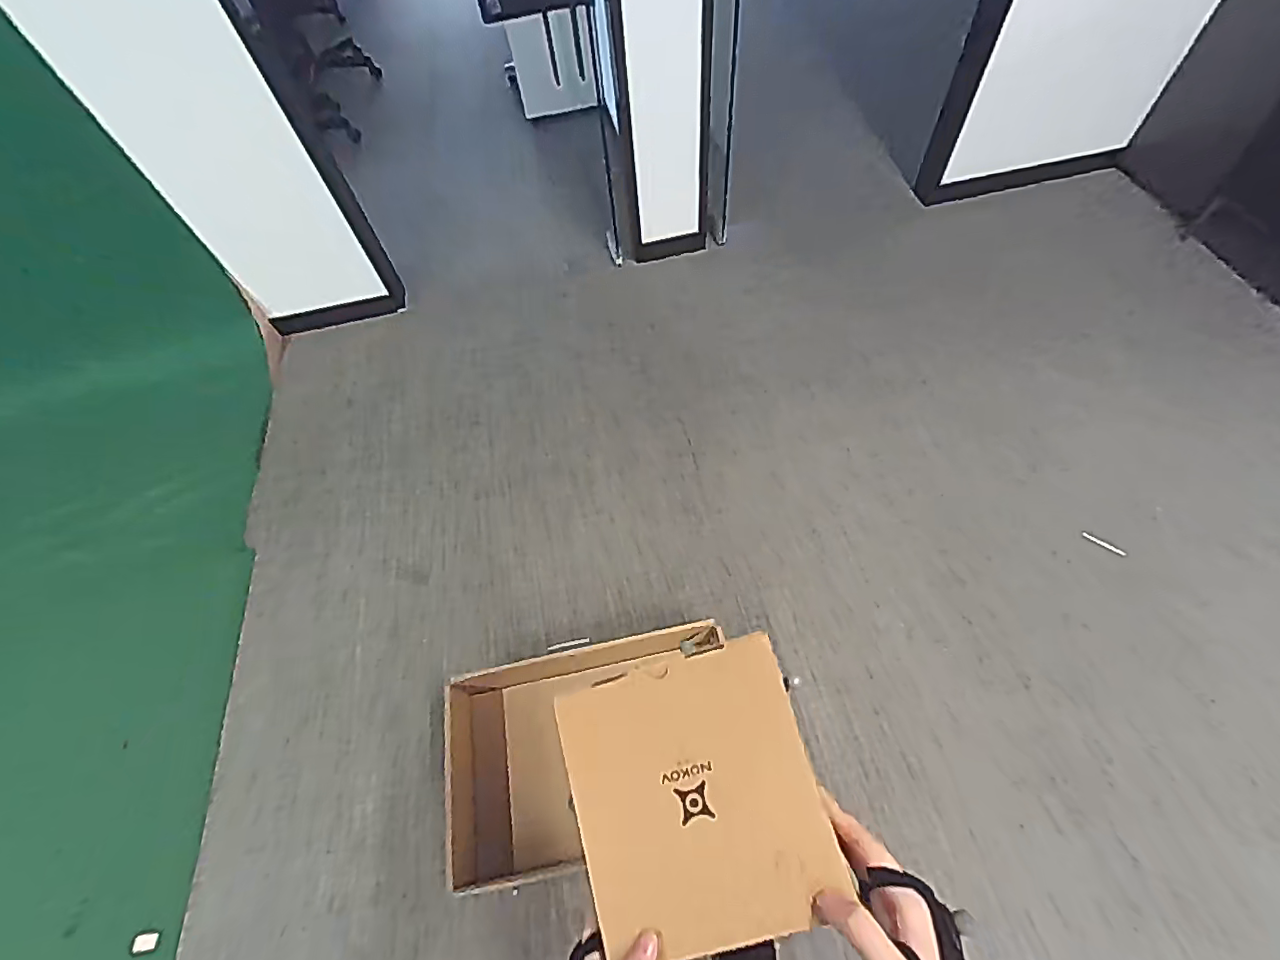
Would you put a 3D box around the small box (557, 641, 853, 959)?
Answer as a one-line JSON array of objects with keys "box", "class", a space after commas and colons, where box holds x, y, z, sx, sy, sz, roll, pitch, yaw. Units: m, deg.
[{"box": [0.052, 0.242, 0.447, 0.168, 0.176, 0.179, -20, 69, 5], "class": "small box"}]
